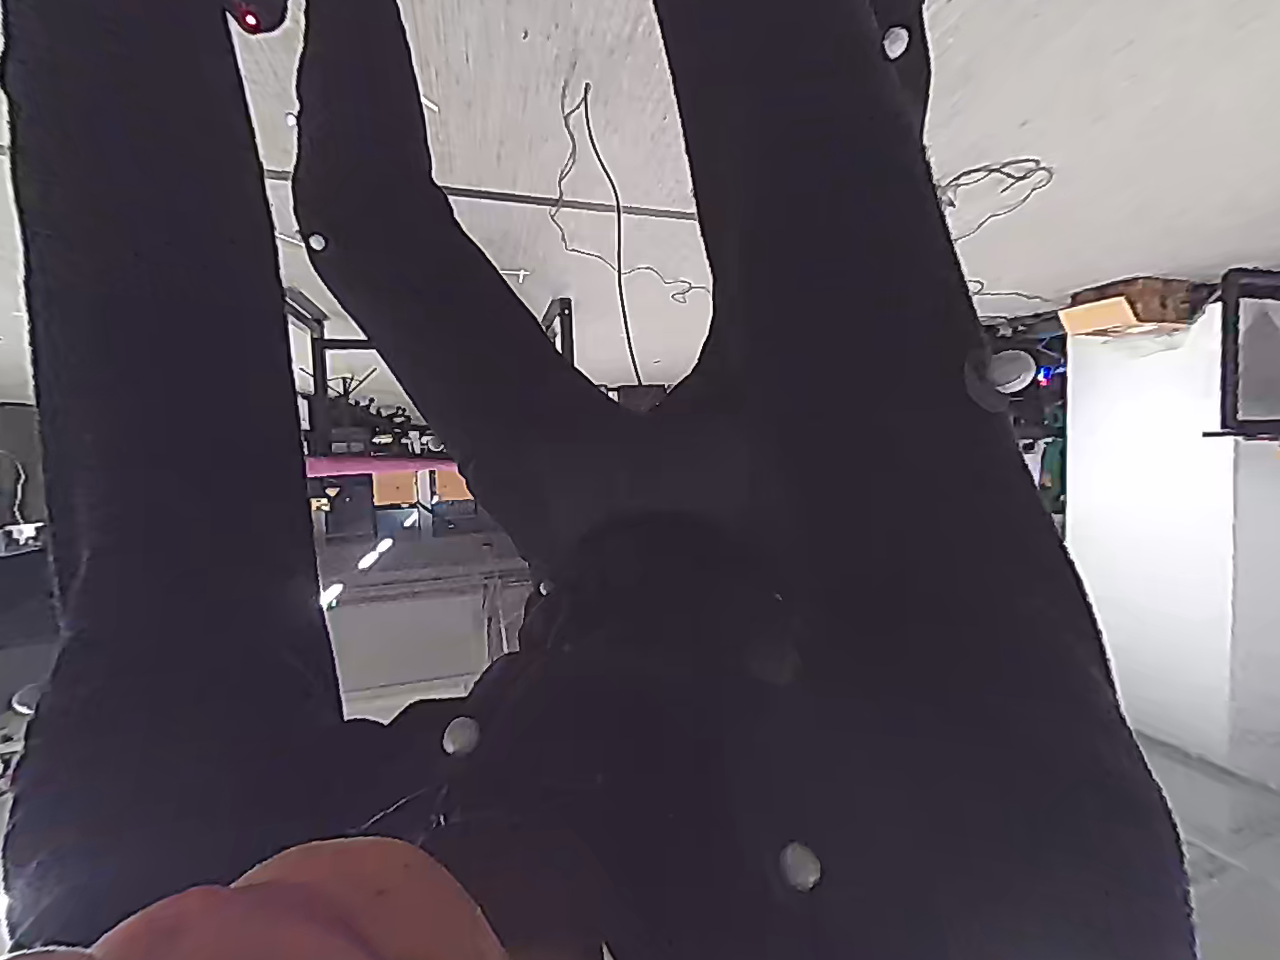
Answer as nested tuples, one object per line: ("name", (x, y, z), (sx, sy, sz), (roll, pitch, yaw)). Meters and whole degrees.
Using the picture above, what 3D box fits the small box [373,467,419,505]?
("small box", (-1.182, 0.023, 2.626), (0.179, 0.176, 0.168), (-5, -178, -18))
